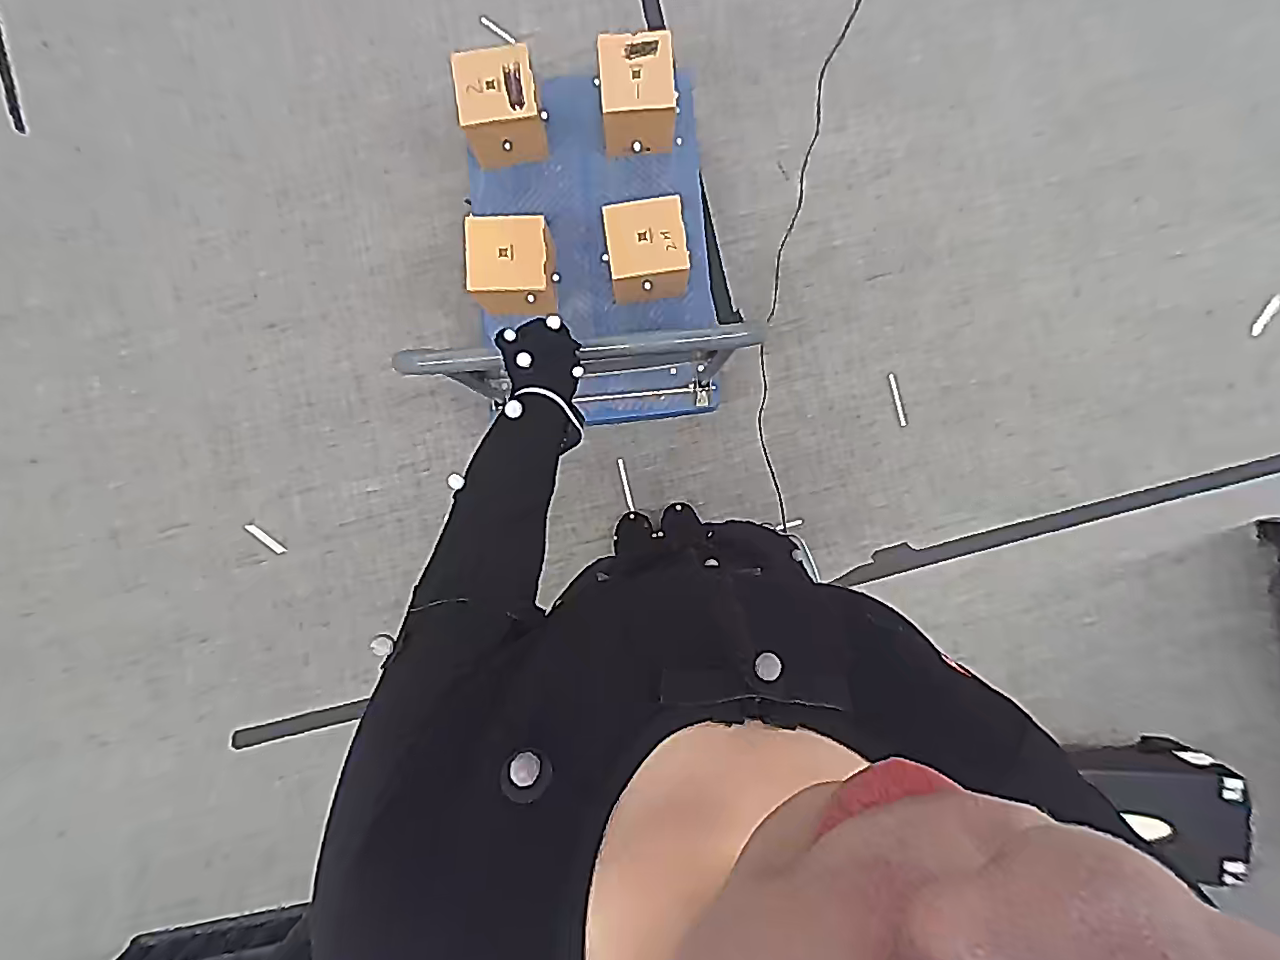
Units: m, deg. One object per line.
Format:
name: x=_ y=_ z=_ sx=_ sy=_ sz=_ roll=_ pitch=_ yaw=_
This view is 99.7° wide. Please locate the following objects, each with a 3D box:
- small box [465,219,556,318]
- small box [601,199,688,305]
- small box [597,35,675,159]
small box: x=-0.296 y=-0.487 z=1.264 sx=0.179 sy=0.176 sz=0.168 roll=-3 pitch=88 yaw=-2
small box: x=0.012 y=-0.524 z=1.265 sx=0.179 sy=0.176 sz=0.168 roll=-8 pitch=89 yaw=0
small box: x=-0.011 y=-0.894 z=1.274 sx=0.168 sy=0.176 sz=0.179 roll=-4 pitch=90 yaw=0
